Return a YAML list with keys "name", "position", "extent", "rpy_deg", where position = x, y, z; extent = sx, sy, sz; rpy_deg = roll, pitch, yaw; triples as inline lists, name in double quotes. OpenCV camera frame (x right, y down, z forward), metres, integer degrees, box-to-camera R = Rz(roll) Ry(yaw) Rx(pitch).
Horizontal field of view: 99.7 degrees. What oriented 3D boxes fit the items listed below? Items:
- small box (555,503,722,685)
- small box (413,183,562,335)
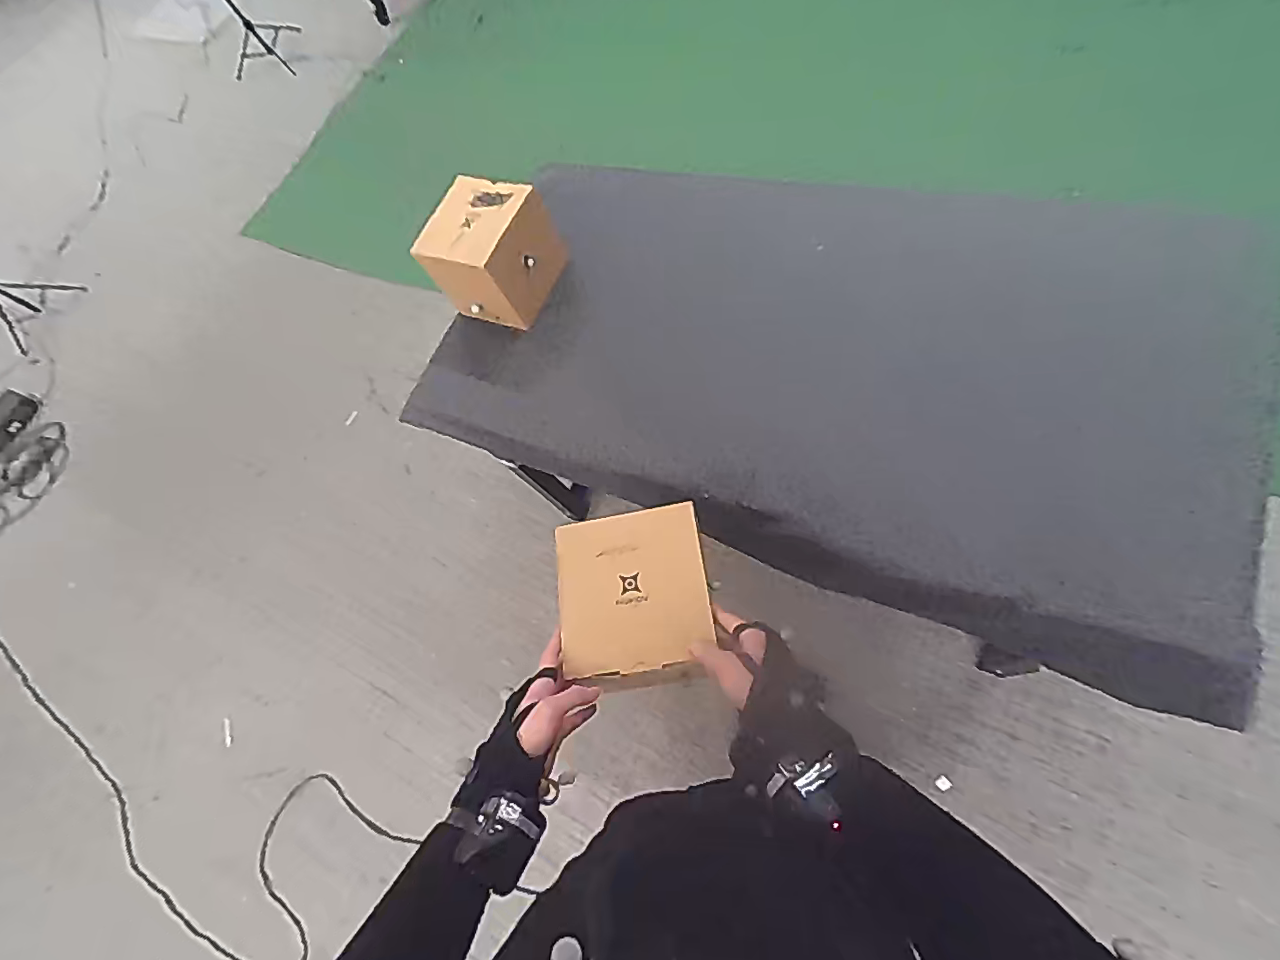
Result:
- name: "small box"
  position: [0.003, 0.151, 0.669]
  extent: [0.168, 0.176, 0.179]
  rpy_deg: [-12, 63, 5]
- name: "small box"
  position: [-0.262, -0.396, 0.979]
  extent: [0.168, 0.176, 0.179]
  rpy_deg: [19, 76, 22]
